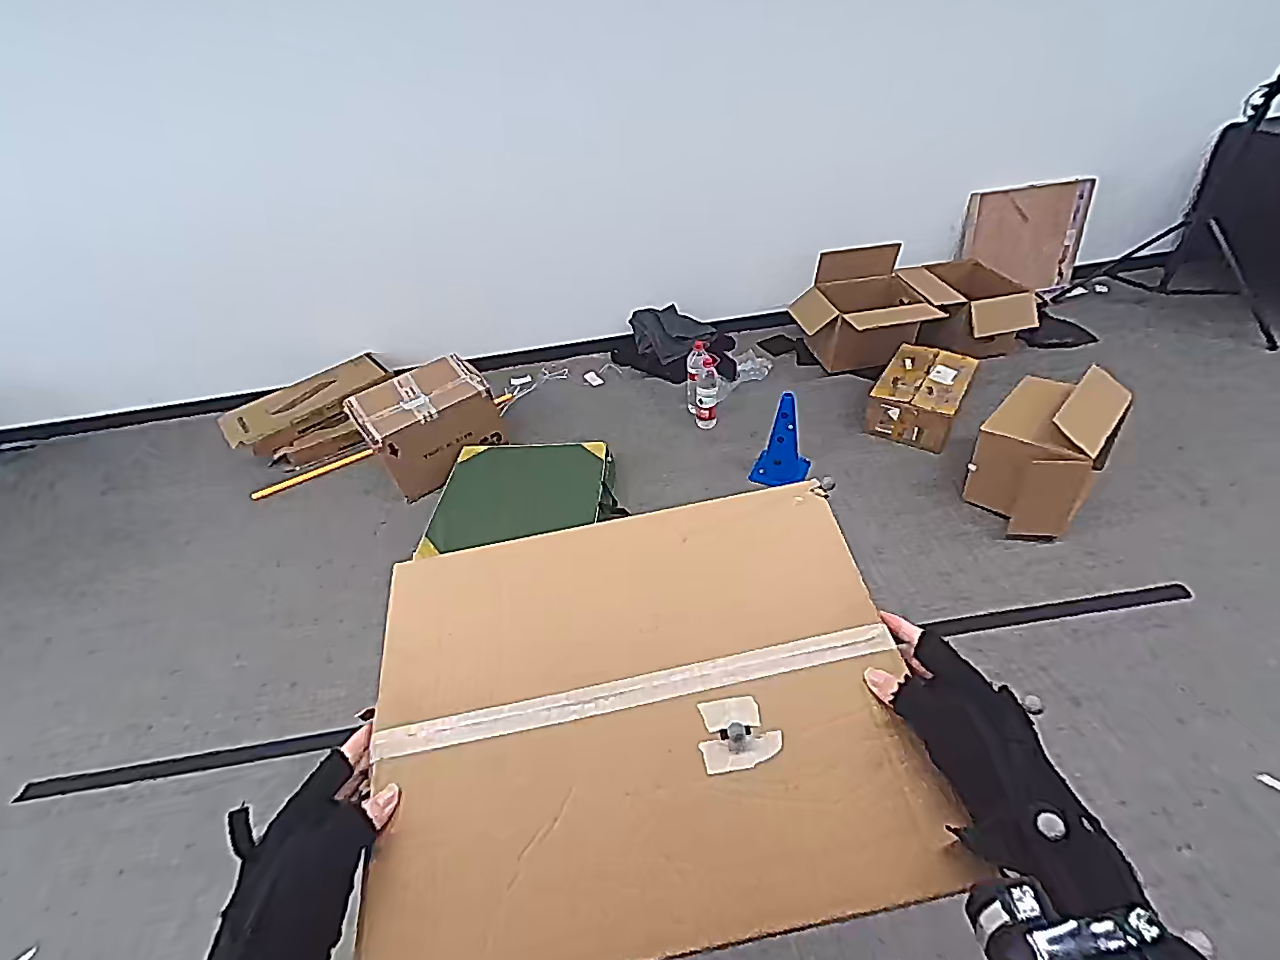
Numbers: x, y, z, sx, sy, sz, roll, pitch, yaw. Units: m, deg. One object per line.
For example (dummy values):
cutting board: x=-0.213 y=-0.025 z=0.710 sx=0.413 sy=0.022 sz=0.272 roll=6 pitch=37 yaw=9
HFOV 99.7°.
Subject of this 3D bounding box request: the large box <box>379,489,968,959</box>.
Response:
large box: x=0.011 y=0.255 z=0.555 sx=0.408 sy=0.320 sz=0.320 roll=-11 pitch=55 yaw=-2
